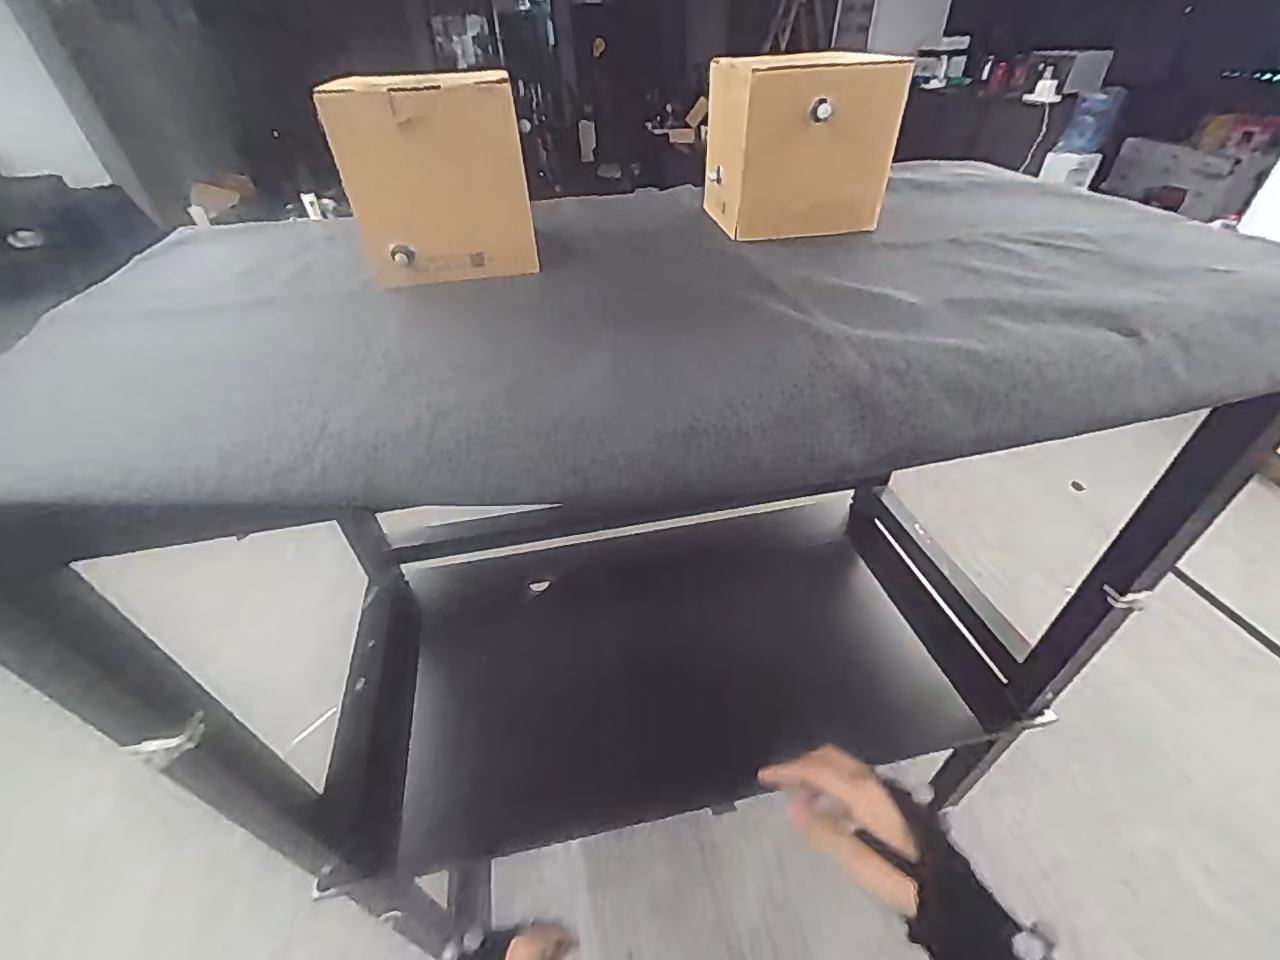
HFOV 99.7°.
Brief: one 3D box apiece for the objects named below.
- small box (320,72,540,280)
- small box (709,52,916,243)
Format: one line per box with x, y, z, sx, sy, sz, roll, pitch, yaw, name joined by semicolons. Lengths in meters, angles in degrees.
-0.203;-0.322;0.578;0.168;0.176;0.179;-9;39;-7;small box
0.187;-0.400;0.650;0.179;0.176;0.168;-7;40;-4;small box
